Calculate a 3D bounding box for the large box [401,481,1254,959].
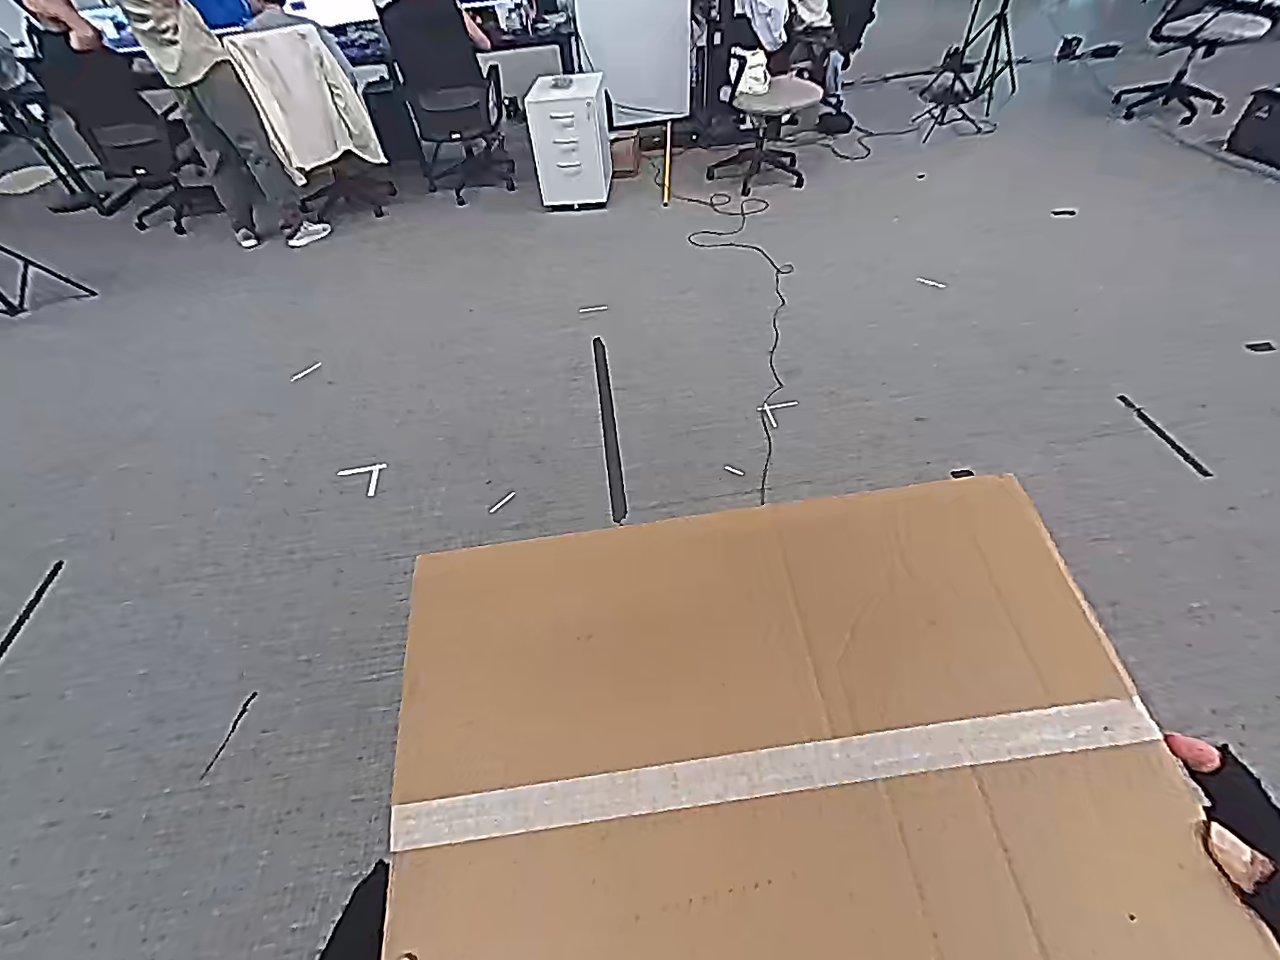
[{"bbox_3d":[0.079,0.236,0.426,0.408,0.320,0.320,-8,60,0],"label":"large box"}]
